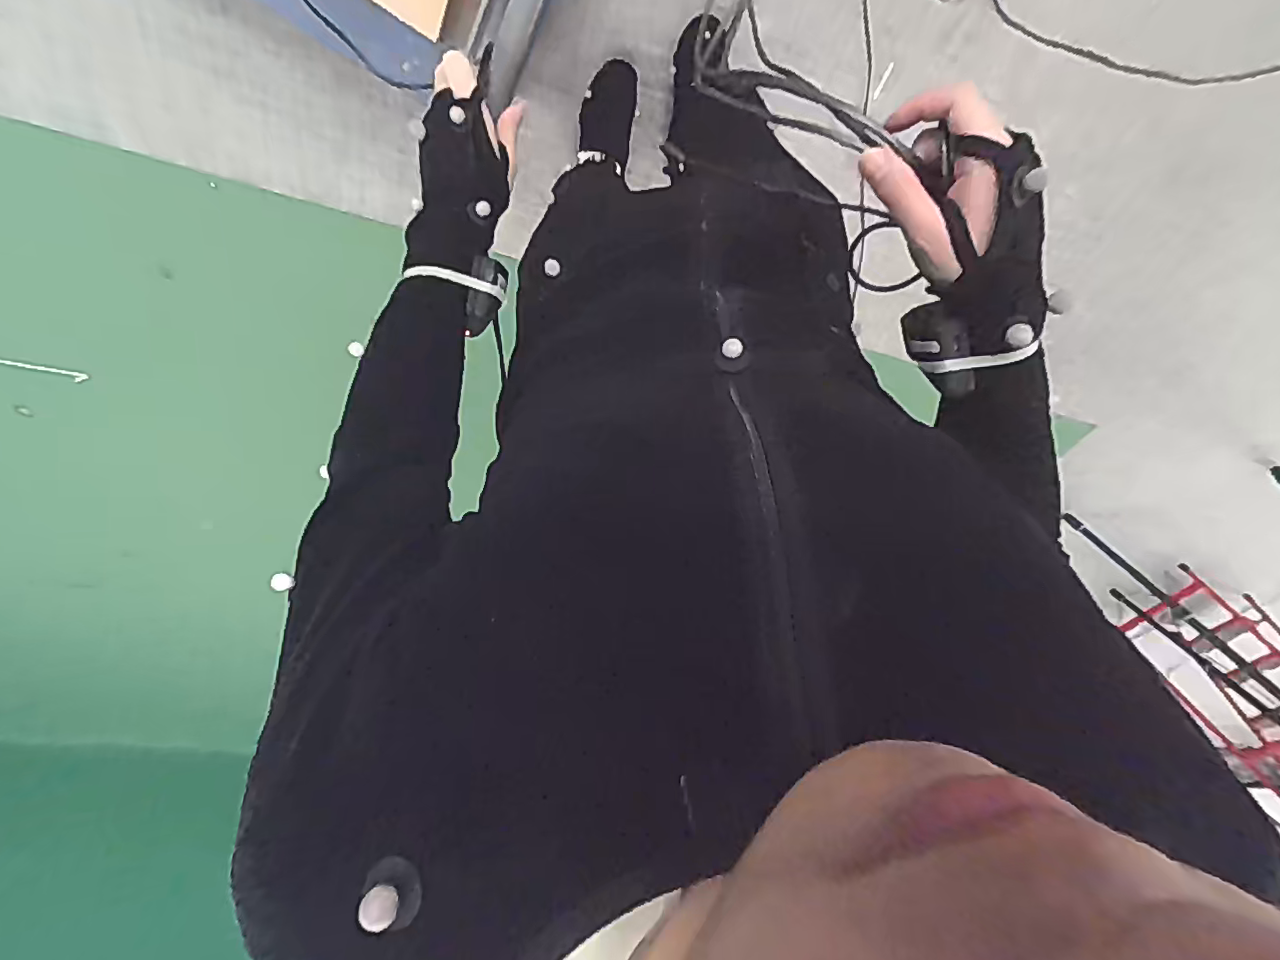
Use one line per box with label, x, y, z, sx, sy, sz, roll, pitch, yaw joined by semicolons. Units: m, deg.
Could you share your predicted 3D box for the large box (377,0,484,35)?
large box;-0.376;-0.877;0.698;0.408;0.320;0.320;23;125;-23
